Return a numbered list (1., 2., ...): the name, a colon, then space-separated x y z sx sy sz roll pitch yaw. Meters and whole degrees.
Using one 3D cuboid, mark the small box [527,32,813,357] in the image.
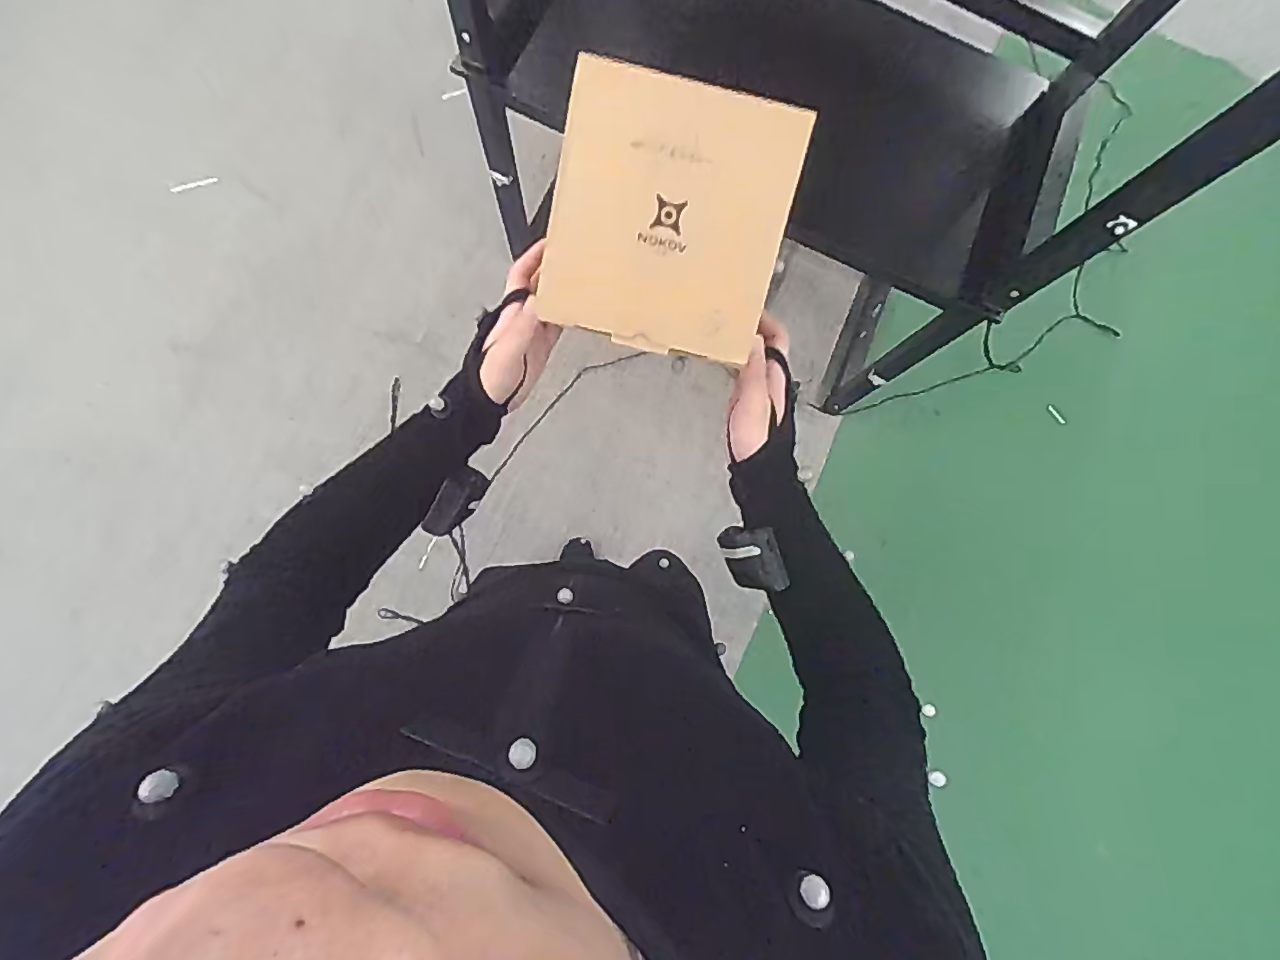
1. small box: 0.019 -0.209 0.449 0.168 0.176 0.179 13 104 -2
